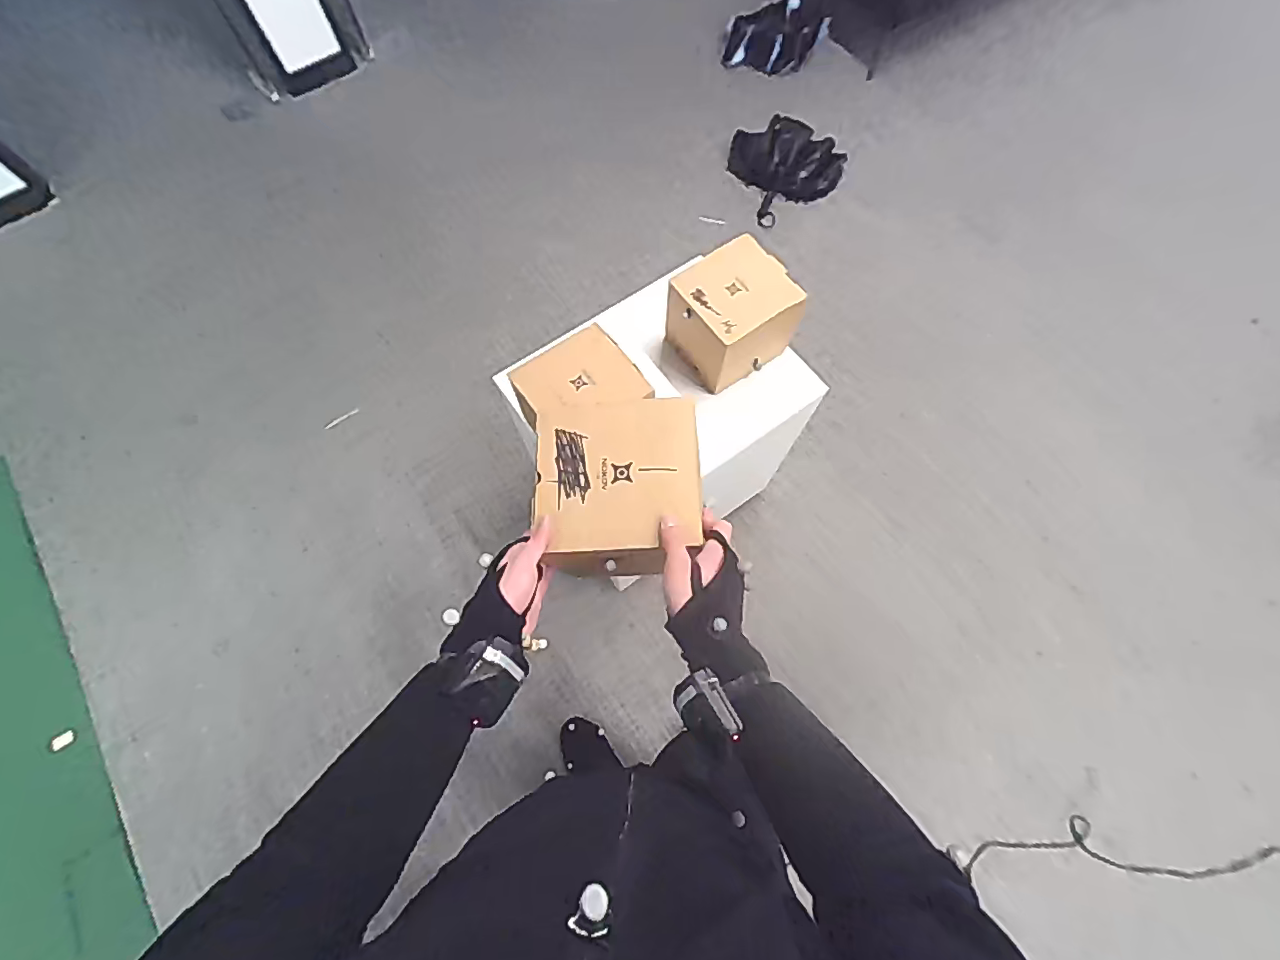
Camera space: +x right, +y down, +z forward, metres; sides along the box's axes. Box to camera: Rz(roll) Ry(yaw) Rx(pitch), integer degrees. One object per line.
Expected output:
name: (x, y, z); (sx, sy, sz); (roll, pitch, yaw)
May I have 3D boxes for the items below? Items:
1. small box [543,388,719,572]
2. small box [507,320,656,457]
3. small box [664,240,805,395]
small box: (-0.003, 0.010, 0.625); (0.179, 0.176, 0.168); (-3, 70, 4)
small box: (-0.094, -0.123, 0.904); (0.179, 0.176, 0.168); (-35, 73, -15)
small box: (0.160, -0.289, 0.981); (0.179, 0.176, 0.168); (-32, 74, -14)
